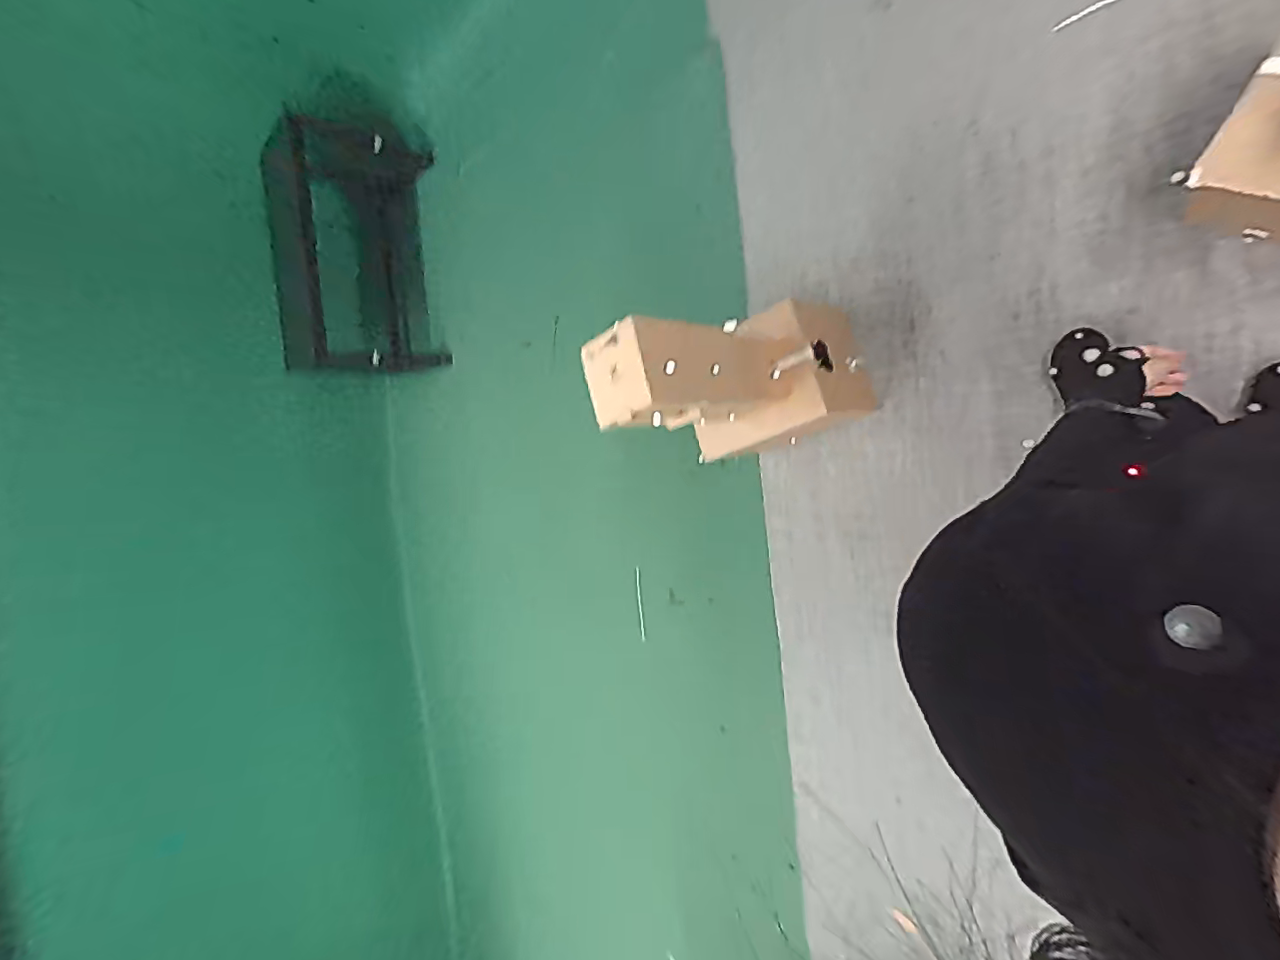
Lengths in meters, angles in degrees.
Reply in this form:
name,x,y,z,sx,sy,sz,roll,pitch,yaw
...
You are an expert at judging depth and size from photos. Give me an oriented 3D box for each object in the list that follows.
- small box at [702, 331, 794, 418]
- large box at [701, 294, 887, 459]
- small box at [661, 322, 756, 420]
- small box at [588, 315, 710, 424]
name,x,y,z,sx,sy,sz,roll,pitch,yaw
small box,0.255,-0.259,1.358,0.179,0.176,0.168,-18,85,46
large box,0.412,-0.278,1.546,0.408,0.320,0.320,-23,79,47
small box,0.144,-0.246,1.238,0.168,0.176,0.179,-15,86,46
small box,0.023,-0.228,1.127,0.168,0.176,0.179,-17,86,46
